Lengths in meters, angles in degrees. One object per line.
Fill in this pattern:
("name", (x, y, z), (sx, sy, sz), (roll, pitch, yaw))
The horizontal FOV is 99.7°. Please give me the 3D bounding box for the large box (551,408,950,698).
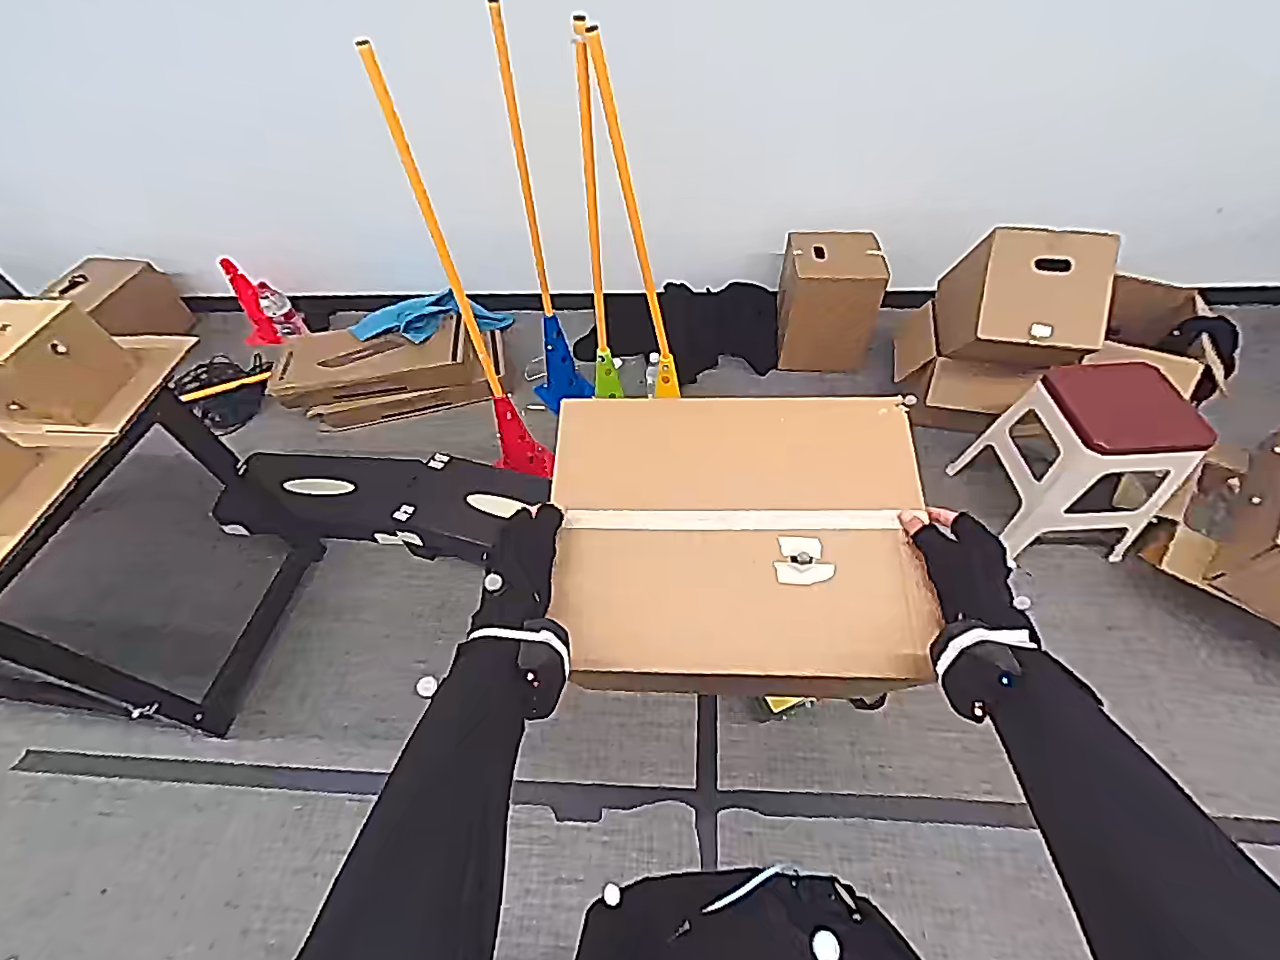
("large box", (0.113, 0.118, 0.732), (0.408, 0.320, 0.320), (0, 65, 3))
